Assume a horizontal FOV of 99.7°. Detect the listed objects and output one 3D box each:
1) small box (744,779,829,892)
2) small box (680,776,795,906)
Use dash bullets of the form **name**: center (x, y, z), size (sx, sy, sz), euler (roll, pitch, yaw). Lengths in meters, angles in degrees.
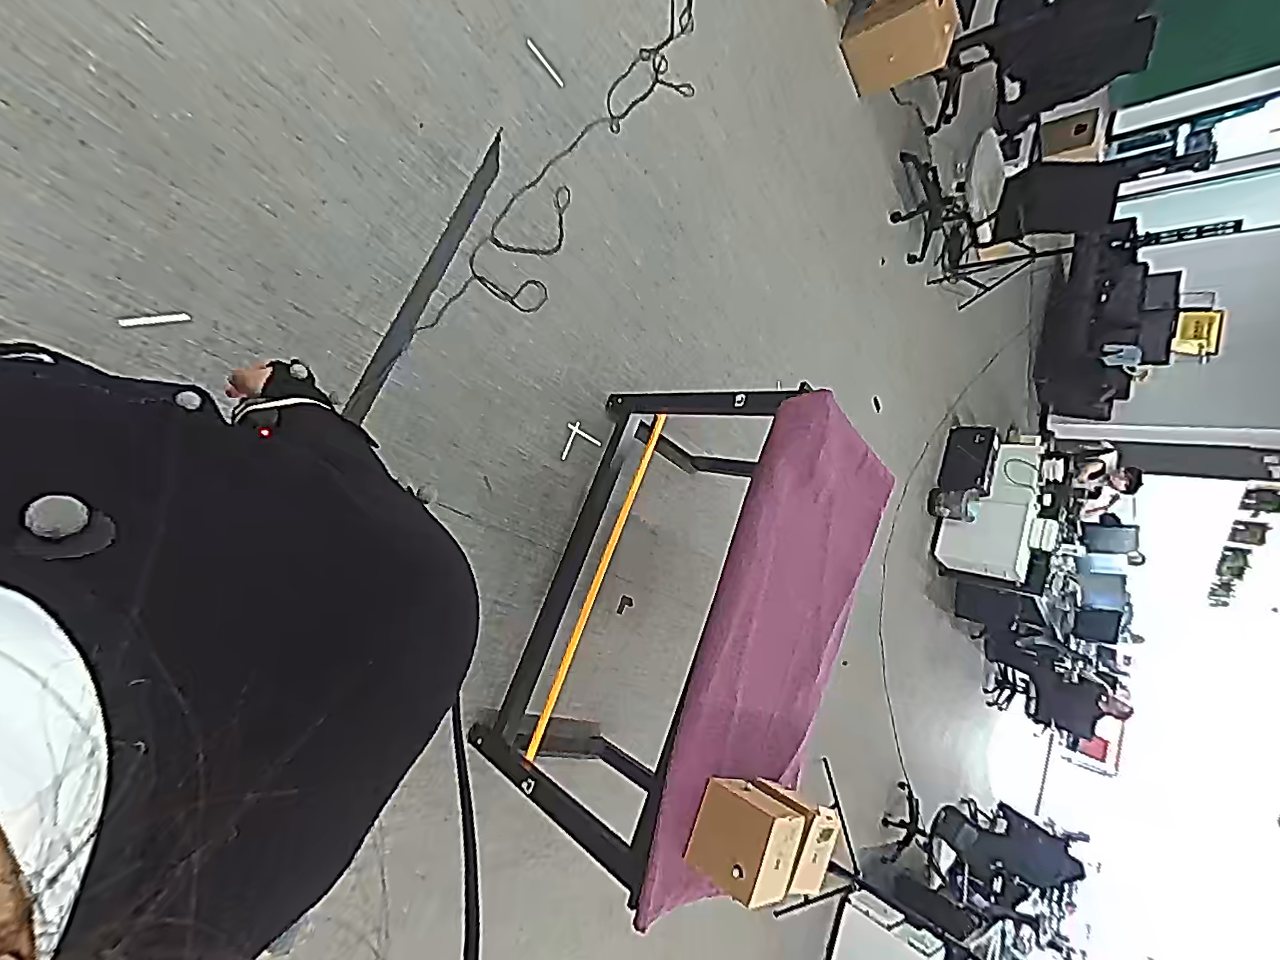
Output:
- **small box**: center (0.334, 0.869, 1.332), size (0.168, 0.176, 0.179), euler (40, 69, -39)
- **small box**: center (0.211, 0.788, 1.195), size (0.168, 0.176, 0.179), euler (36, 70, -44)
